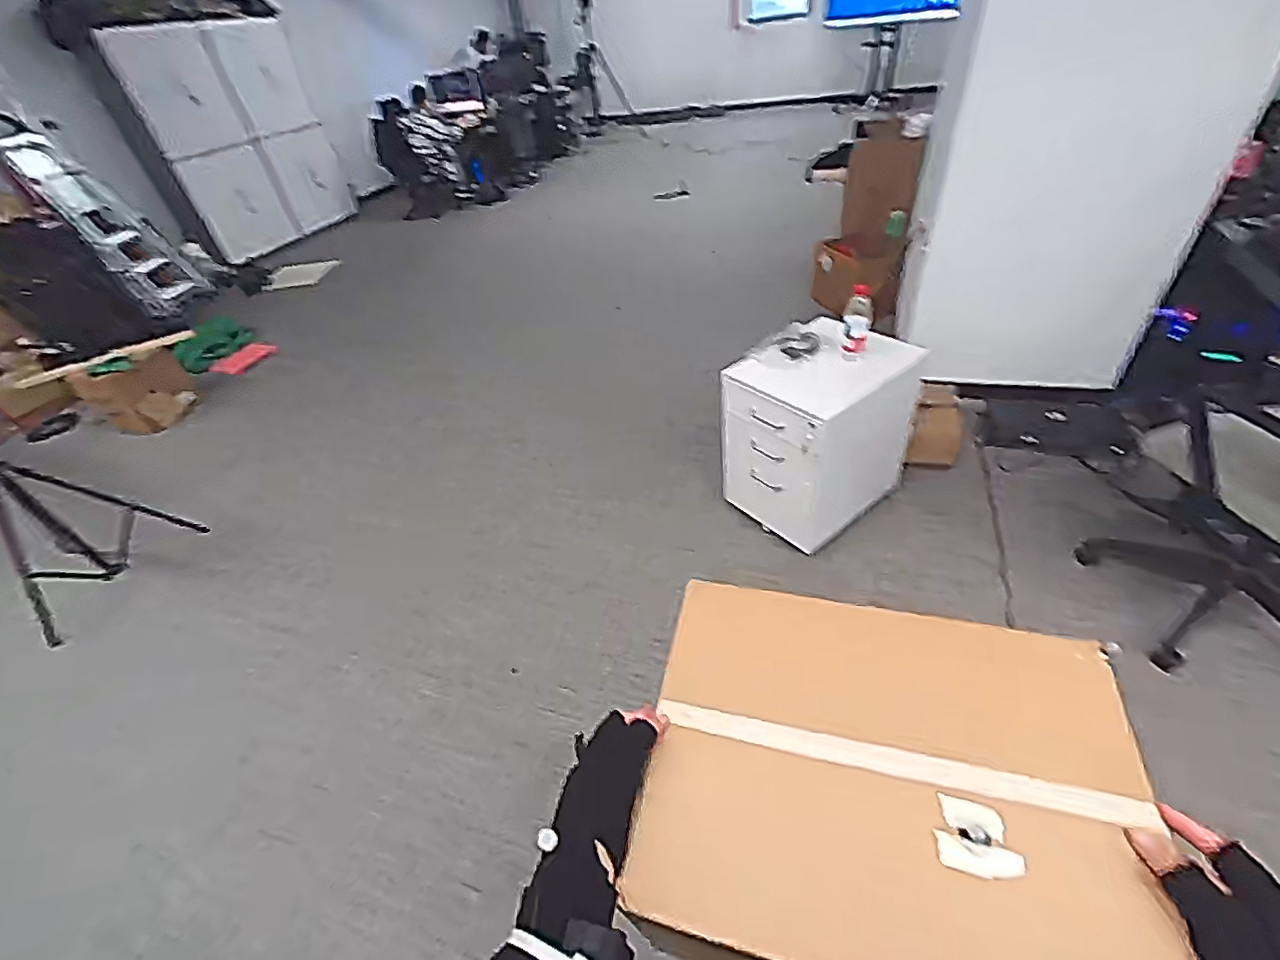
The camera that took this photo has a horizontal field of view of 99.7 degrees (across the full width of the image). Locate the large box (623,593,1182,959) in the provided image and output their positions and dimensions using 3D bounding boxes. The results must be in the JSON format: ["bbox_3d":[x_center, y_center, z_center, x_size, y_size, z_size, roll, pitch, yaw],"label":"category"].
[{"bbox_3d":[0.227,0.362,0.590,0.408,0.320,0.320,6,47,16],"label":"large box"}]
